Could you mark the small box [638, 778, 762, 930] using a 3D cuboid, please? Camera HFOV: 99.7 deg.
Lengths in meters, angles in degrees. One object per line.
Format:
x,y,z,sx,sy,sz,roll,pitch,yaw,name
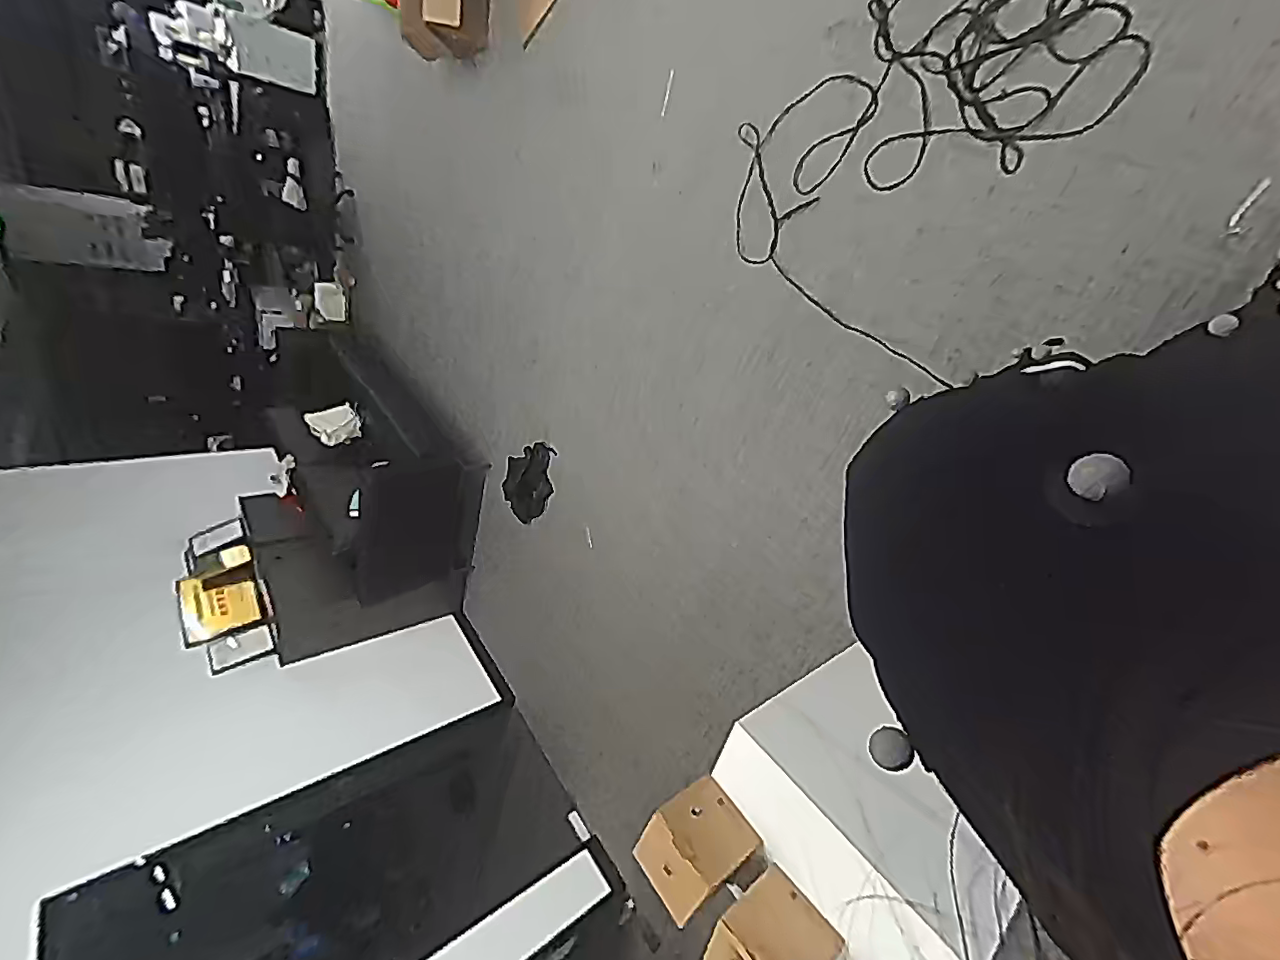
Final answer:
0.128,0.770,1.131,0.168,0.176,0.179,43,128,37,small box
